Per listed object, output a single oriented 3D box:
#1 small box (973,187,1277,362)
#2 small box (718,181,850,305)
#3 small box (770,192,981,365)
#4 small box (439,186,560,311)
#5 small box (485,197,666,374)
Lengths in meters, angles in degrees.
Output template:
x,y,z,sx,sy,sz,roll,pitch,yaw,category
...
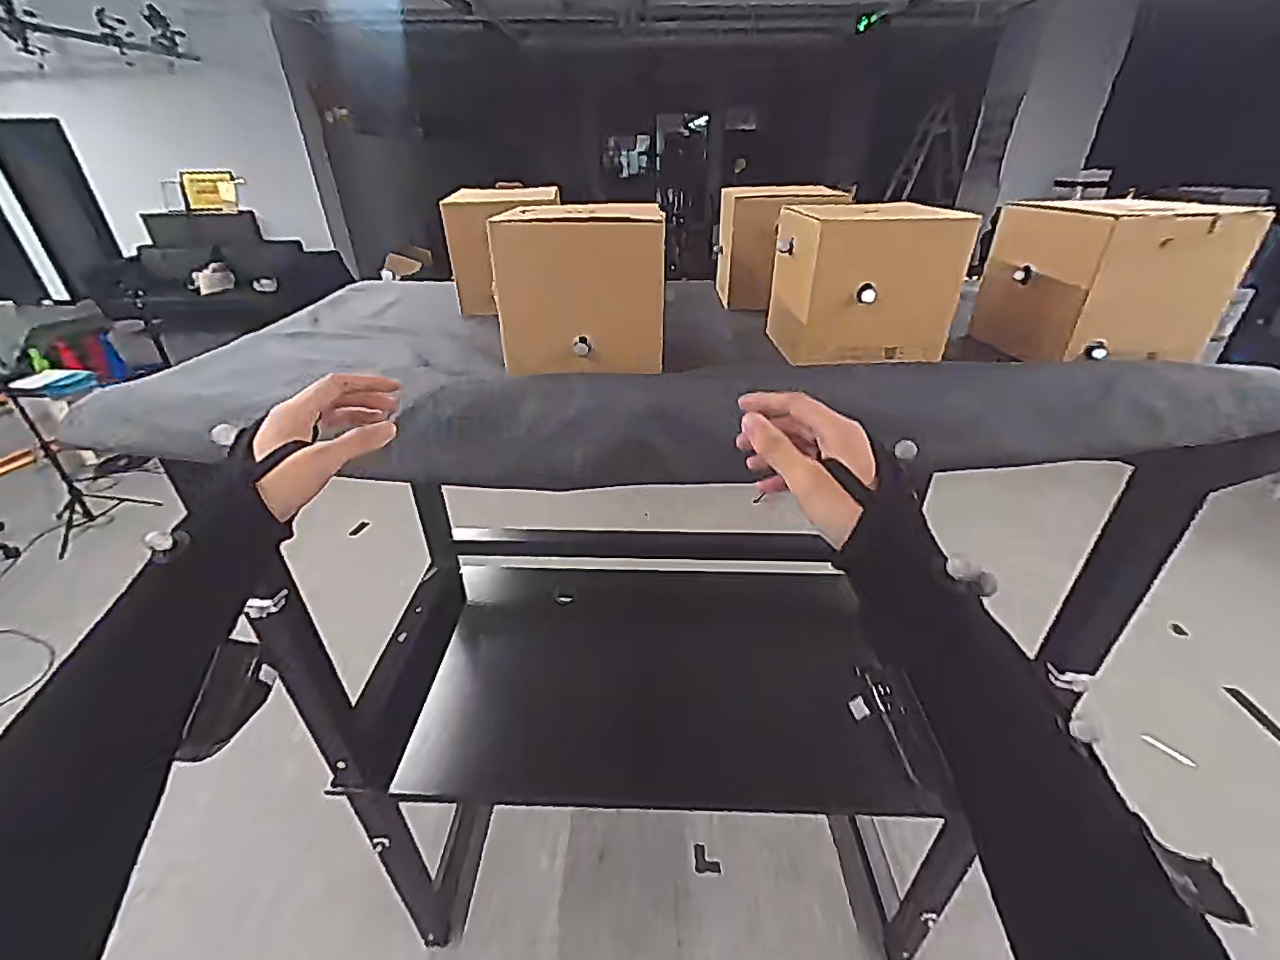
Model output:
x,y,z,sx,sy,sz,roll,pitch,yaw,category
0.535,-0.240,0.632,0.168,0.176,0.179,-3,30,-3,small box
0.223,-0.391,0.890,0.179,0.176,0.168,0,32,2,small box
0.260,-0.241,0.646,0.168,0.176,0.179,-1,30,0,small box
-0.211,-0.379,0.882,0.168,0.176,0.179,-4,32,-4,small box
-0.063,-0.226,0.627,0.179,0.176,0.168,1,30,0,small box
